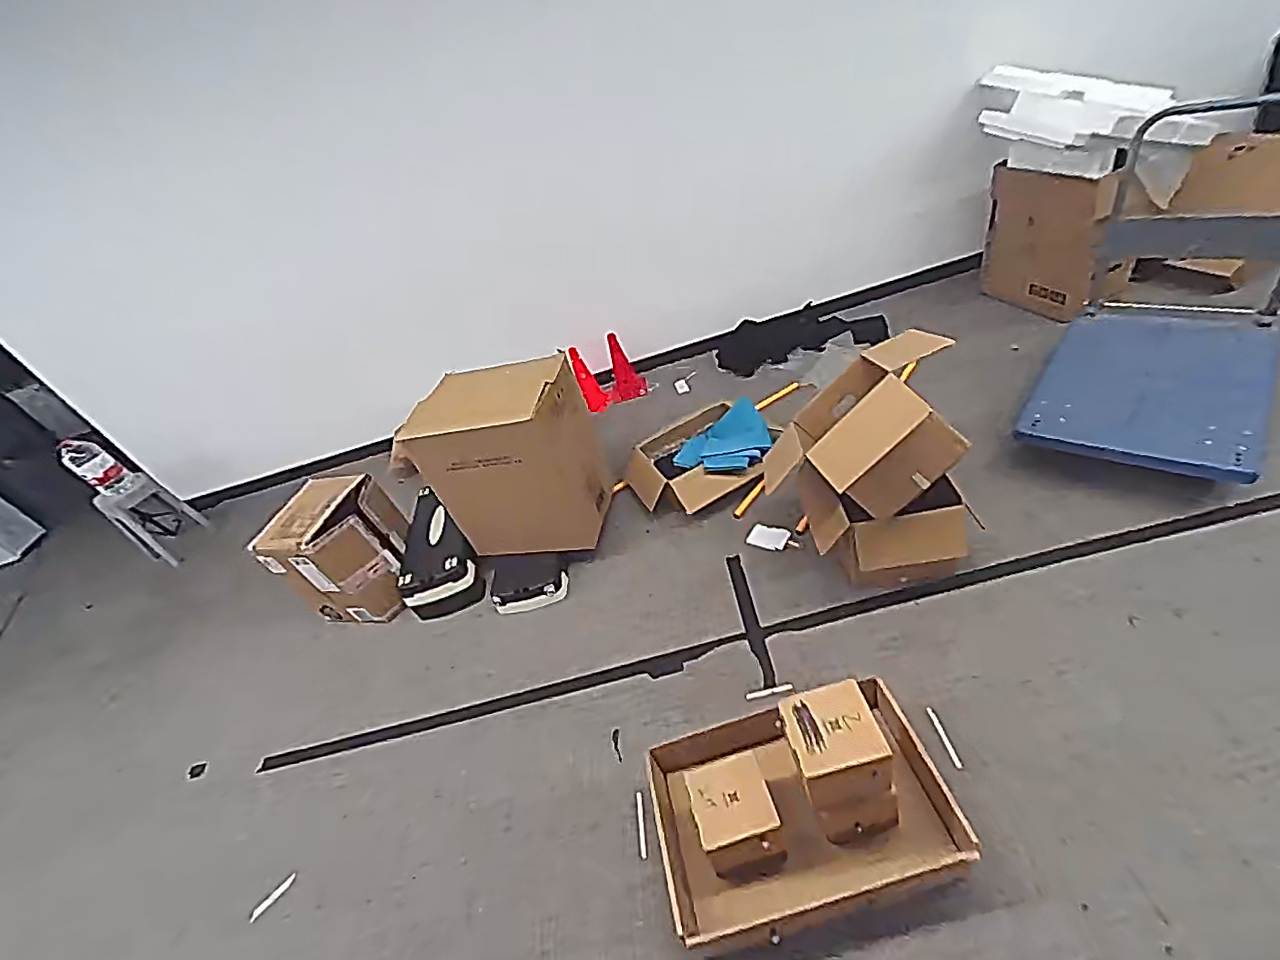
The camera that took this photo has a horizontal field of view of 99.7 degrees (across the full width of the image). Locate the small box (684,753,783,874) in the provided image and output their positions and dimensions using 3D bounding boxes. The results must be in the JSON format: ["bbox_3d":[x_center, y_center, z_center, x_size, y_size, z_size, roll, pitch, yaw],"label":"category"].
[{"bbox_3d":[0.219,0.767,1.243,0.179,0.176,0.168,-19,37,0],"label":"small box"}]

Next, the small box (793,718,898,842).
[{"bbox_3d":[0.465,0.686,1.236,0.168,0.176,0.179,-20,38,3],"label":"small box"}]
